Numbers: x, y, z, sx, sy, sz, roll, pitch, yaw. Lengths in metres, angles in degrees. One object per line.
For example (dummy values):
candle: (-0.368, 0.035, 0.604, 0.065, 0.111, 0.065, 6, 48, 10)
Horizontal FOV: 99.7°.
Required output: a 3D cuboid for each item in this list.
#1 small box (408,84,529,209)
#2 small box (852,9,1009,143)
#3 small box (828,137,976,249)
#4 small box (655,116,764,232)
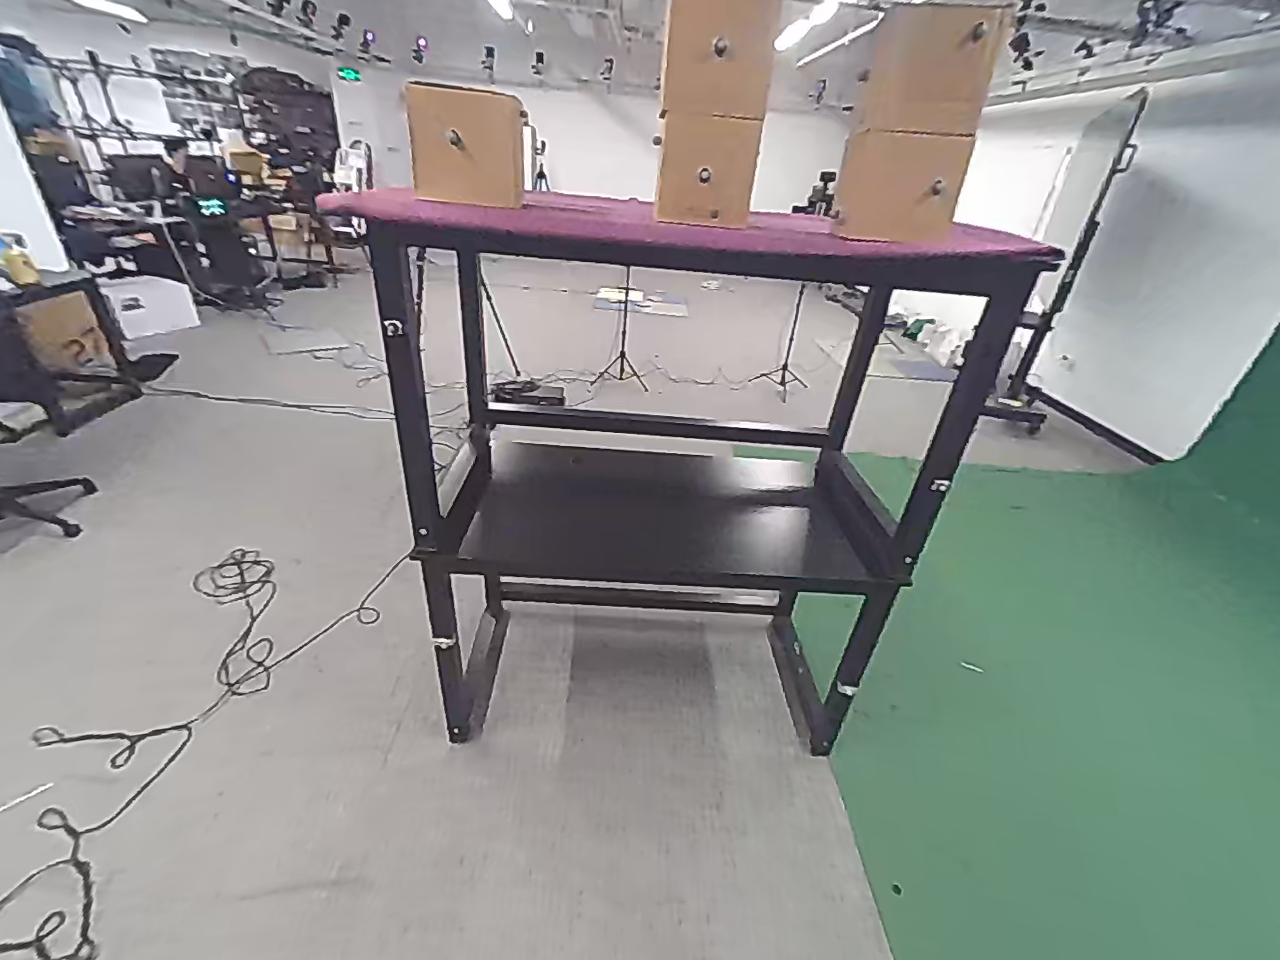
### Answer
small box: (-0.293, -0.586, 0.964, 0.179, 0.176, 0.168, 1, 32, -8)
small box: (0.477, -0.669, 0.925, 0.179, 0.176, 0.168, 7, 27, 4)
small box: (0.468, -0.522, 0.995, 0.179, 0.176, 0.168, 4, 27, 2)
small box: (0.120, -0.567, 1.010, 0.168, 0.176, 0.179, 5, 30, -3)
